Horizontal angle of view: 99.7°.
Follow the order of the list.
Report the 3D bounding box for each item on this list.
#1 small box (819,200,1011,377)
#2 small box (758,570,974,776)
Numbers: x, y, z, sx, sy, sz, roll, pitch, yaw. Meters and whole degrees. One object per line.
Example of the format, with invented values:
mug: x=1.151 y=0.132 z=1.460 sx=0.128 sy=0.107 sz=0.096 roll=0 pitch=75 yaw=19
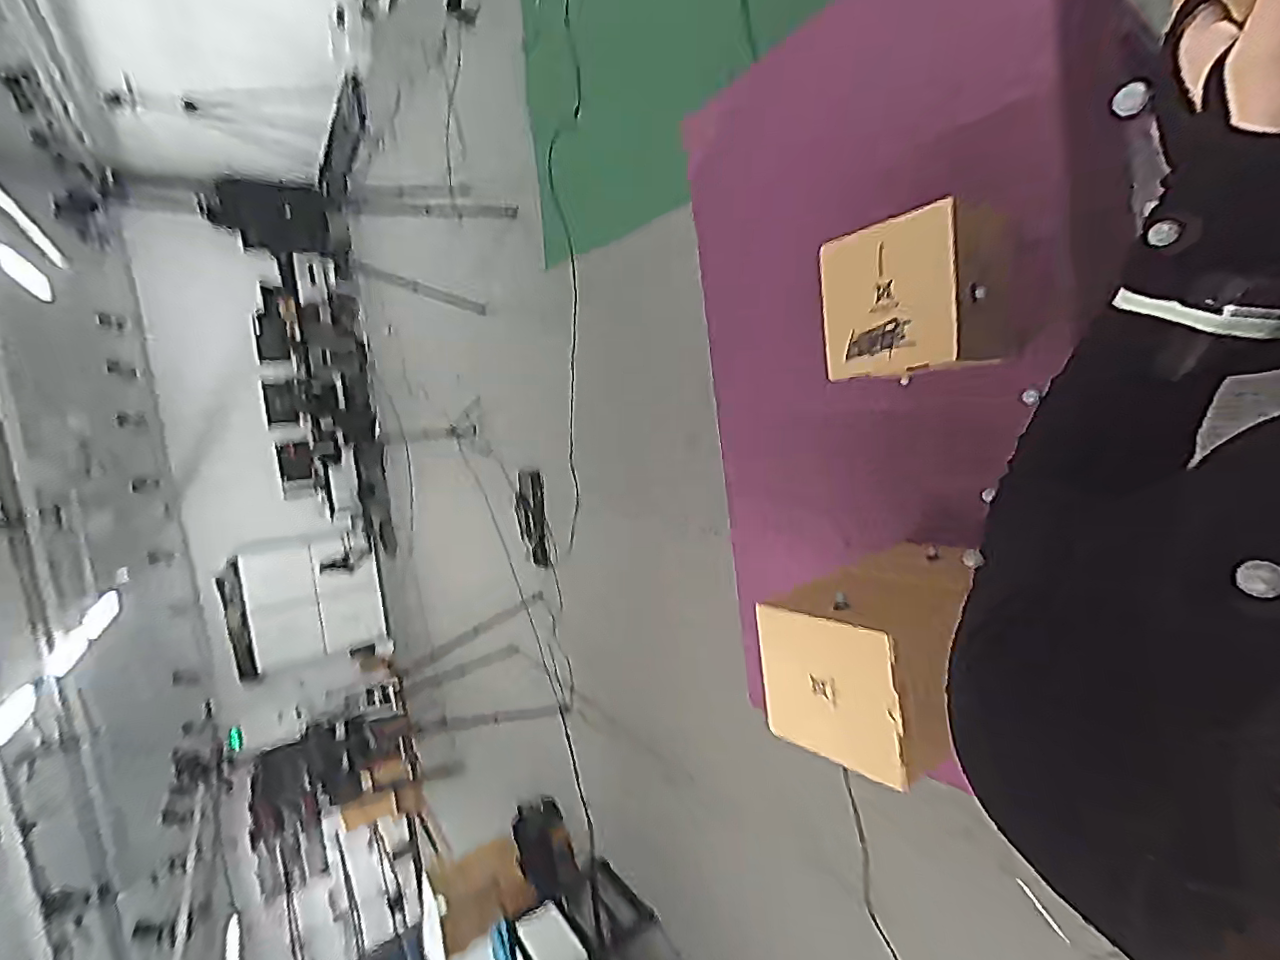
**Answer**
small box: x=0.357 y=-0.234 z=0.702 sx=0.168 sy=0.176 sz=0.179 roll=2 pitch=100 yaw=54
small box: x=0.271 y=0.212 z=0.655 sx=0.179 sy=0.176 sz=0.168 roll=-2 pitch=96 yaw=54
